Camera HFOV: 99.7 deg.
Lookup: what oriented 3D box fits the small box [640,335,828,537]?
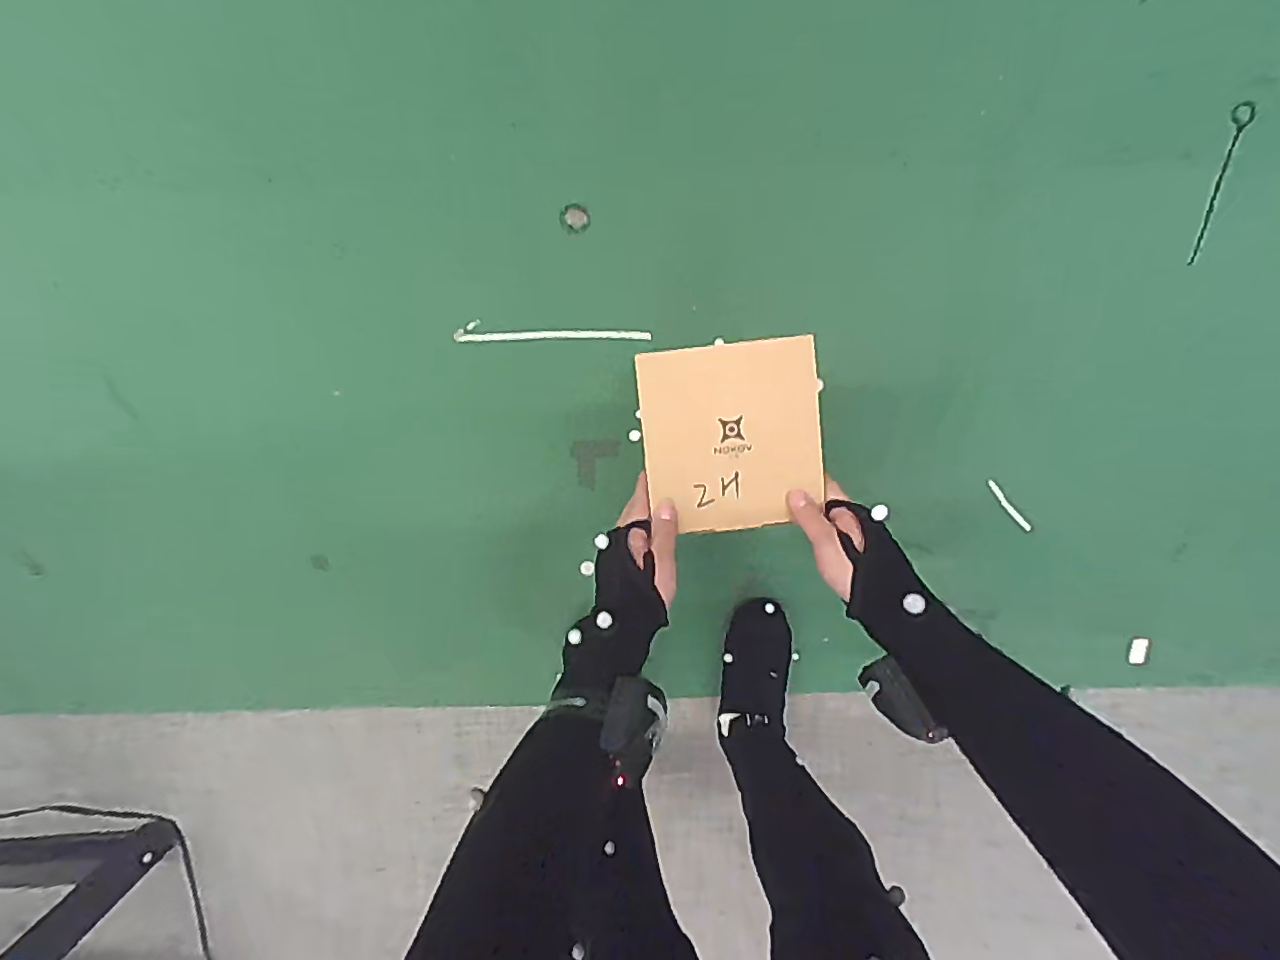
[{"bbox_3d":[0.088,-0.047,0.574,0.168,0.176,0.179,-5,97,3],"label":"small box"}]
